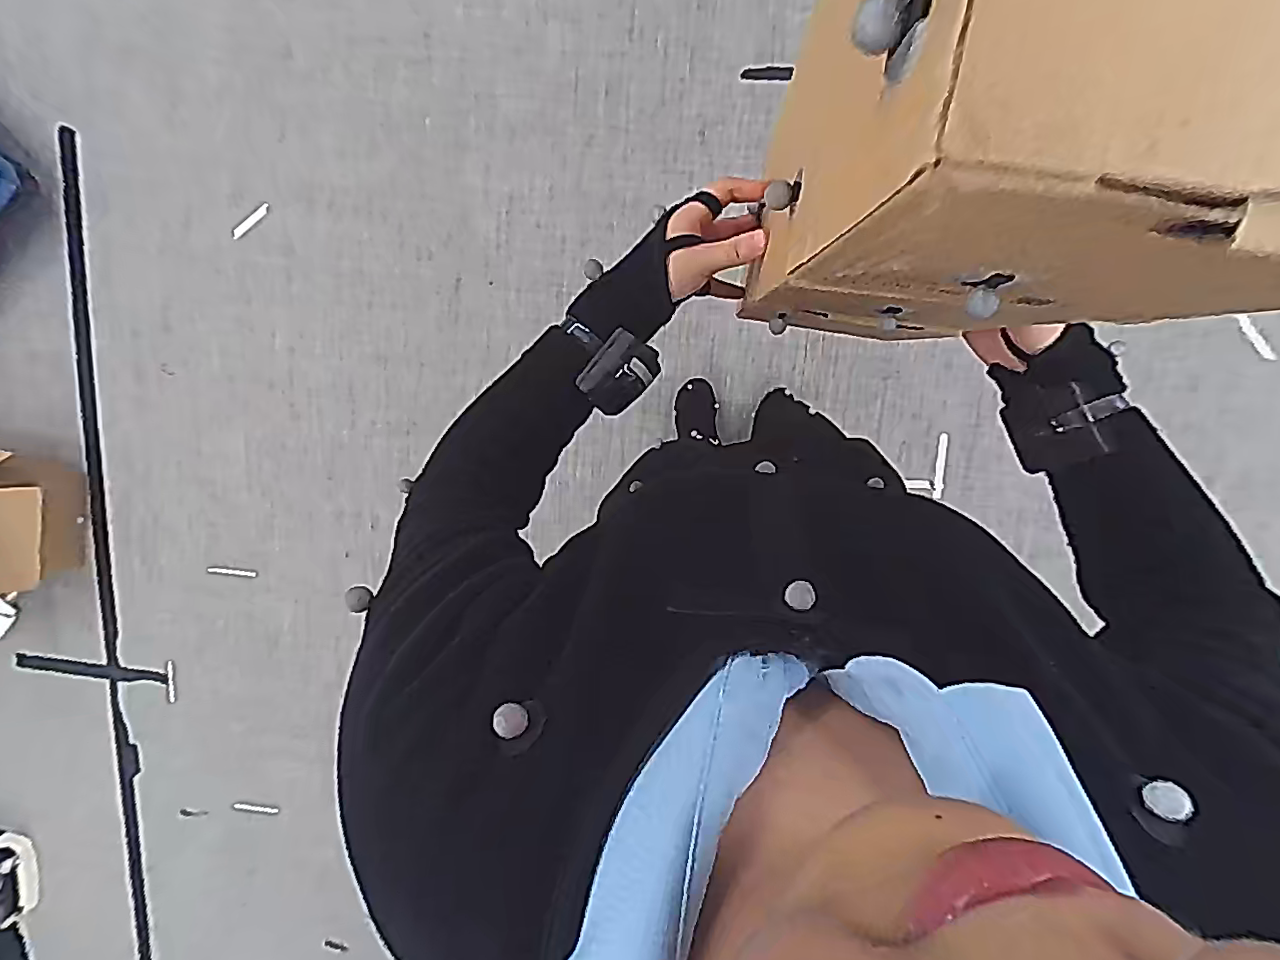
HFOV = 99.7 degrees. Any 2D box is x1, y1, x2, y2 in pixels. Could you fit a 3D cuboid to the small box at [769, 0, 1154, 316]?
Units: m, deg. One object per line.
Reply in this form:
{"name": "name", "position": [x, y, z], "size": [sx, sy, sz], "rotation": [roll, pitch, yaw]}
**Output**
{"name": "small box", "position": [0.177, -0.195, 0.310], "size": [0.168, 0.176, 0.179], "rotation": [8, 103, 2]}

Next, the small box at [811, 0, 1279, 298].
{"name": "small box", "position": [0.159, -0.157, 0.153], "size": [0.168, 0.176, 0.179], "rotation": [7, 105, 3]}
